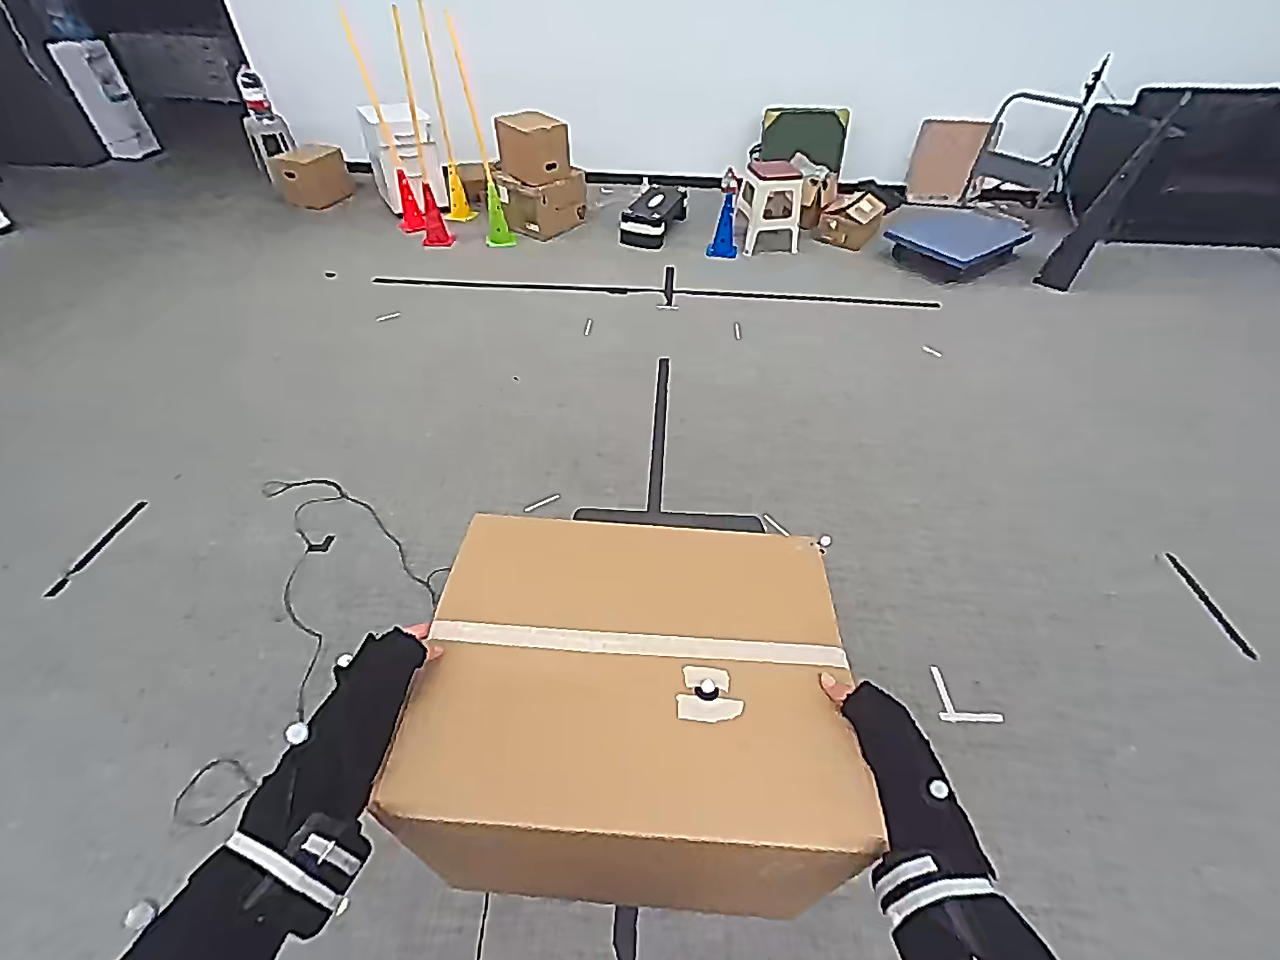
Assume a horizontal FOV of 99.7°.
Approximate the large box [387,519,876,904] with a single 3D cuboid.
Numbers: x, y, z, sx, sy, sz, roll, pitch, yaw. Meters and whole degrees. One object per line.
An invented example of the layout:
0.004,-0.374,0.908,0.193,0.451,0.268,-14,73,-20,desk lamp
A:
-0.007,0.271,0.639,0.408,0.320,0.320,4,44,1,large box
